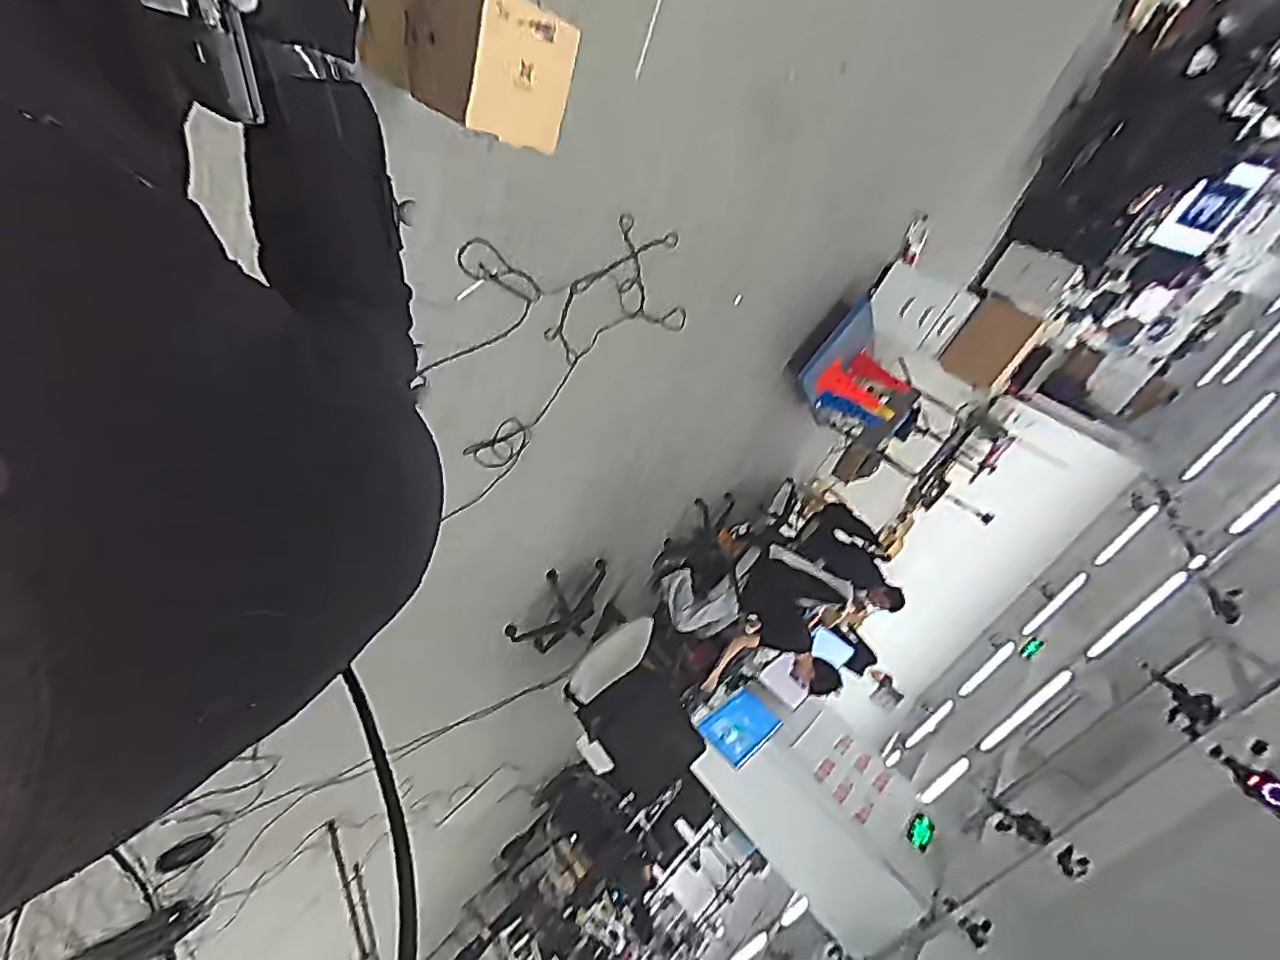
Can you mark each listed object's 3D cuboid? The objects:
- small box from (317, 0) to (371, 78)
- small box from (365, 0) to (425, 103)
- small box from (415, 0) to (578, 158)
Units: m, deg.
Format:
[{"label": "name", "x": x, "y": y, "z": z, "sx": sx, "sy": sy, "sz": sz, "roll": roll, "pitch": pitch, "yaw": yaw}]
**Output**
[{"label": "small box", "x": -0.461, "y": -0.826, "z": 0.987, "sx": 0.179, "sy": 0.176, "sz": 0.168, "roll": -16, "pitch": 136, "yaw": -45}, {"label": "small box", "x": -0.343, "y": -0.734, "z": 0.918, "sx": 0.179, "sy": 0.176, "sz": 0.168, "roll": -16, "pitch": 138, "yaw": -47}, {"label": "small box", "x": -0.230, "y": -0.642, "z": 0.844, "sx": 0.168, "sy": 0.176, "sz": 0.179, "roll": -15, "pitch": 137, "yaw": -47}]
